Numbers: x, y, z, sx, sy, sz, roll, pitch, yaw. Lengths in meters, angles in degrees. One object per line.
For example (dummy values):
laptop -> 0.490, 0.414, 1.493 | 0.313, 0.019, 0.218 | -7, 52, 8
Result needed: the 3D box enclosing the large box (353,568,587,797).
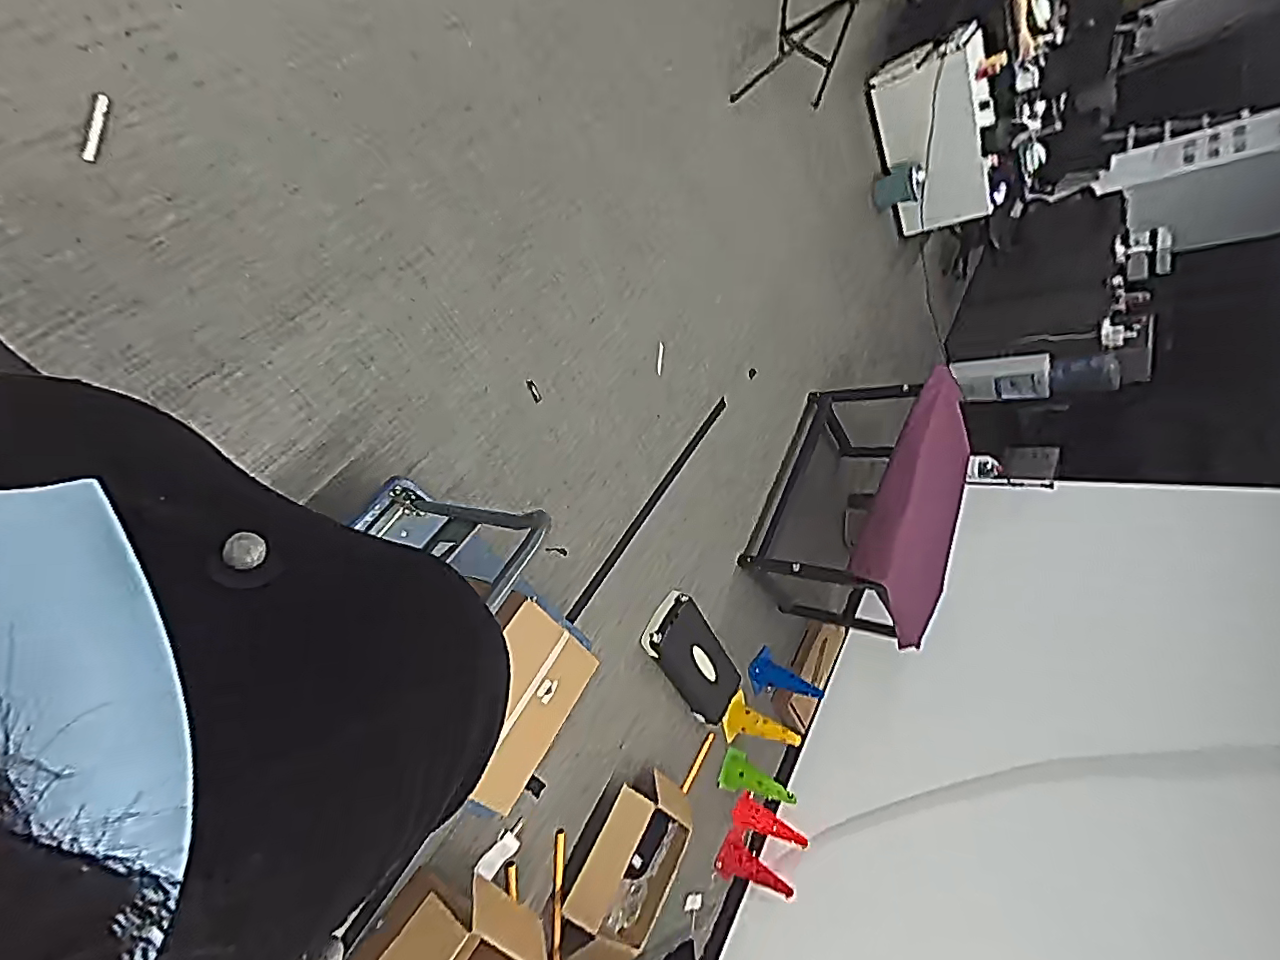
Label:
large box -> -0.415, 0.486, 1.357 | 0.408, 0.320, 0.320 | -57, 130, -28
